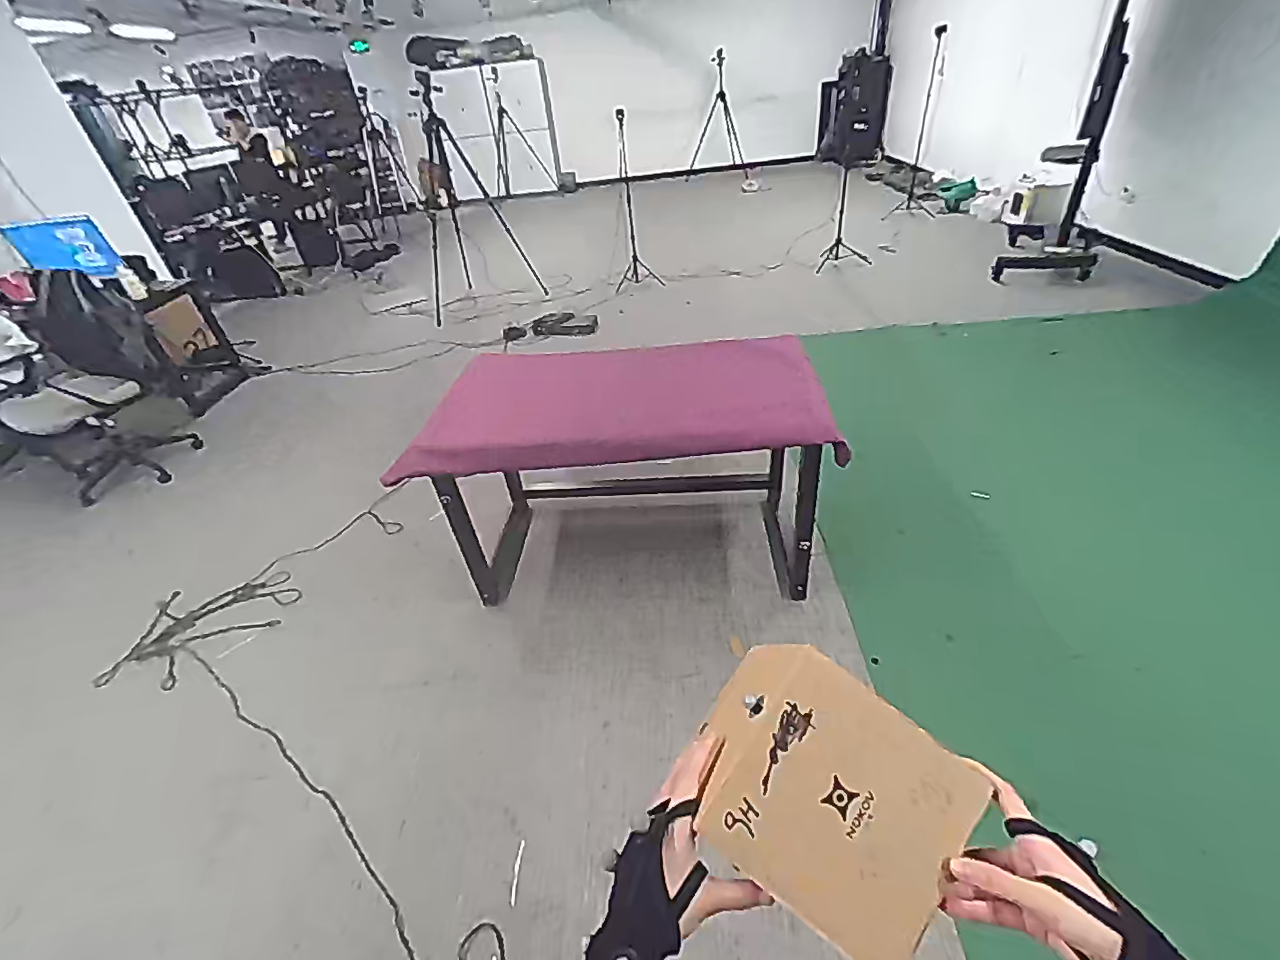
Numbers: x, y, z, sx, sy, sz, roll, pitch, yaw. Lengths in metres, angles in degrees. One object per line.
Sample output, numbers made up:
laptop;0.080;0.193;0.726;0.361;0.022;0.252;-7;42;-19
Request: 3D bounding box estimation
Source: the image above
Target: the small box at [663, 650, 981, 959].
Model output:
small box;0.141;0.266;0.480;0.179;0.176;0.168;37;74;6
